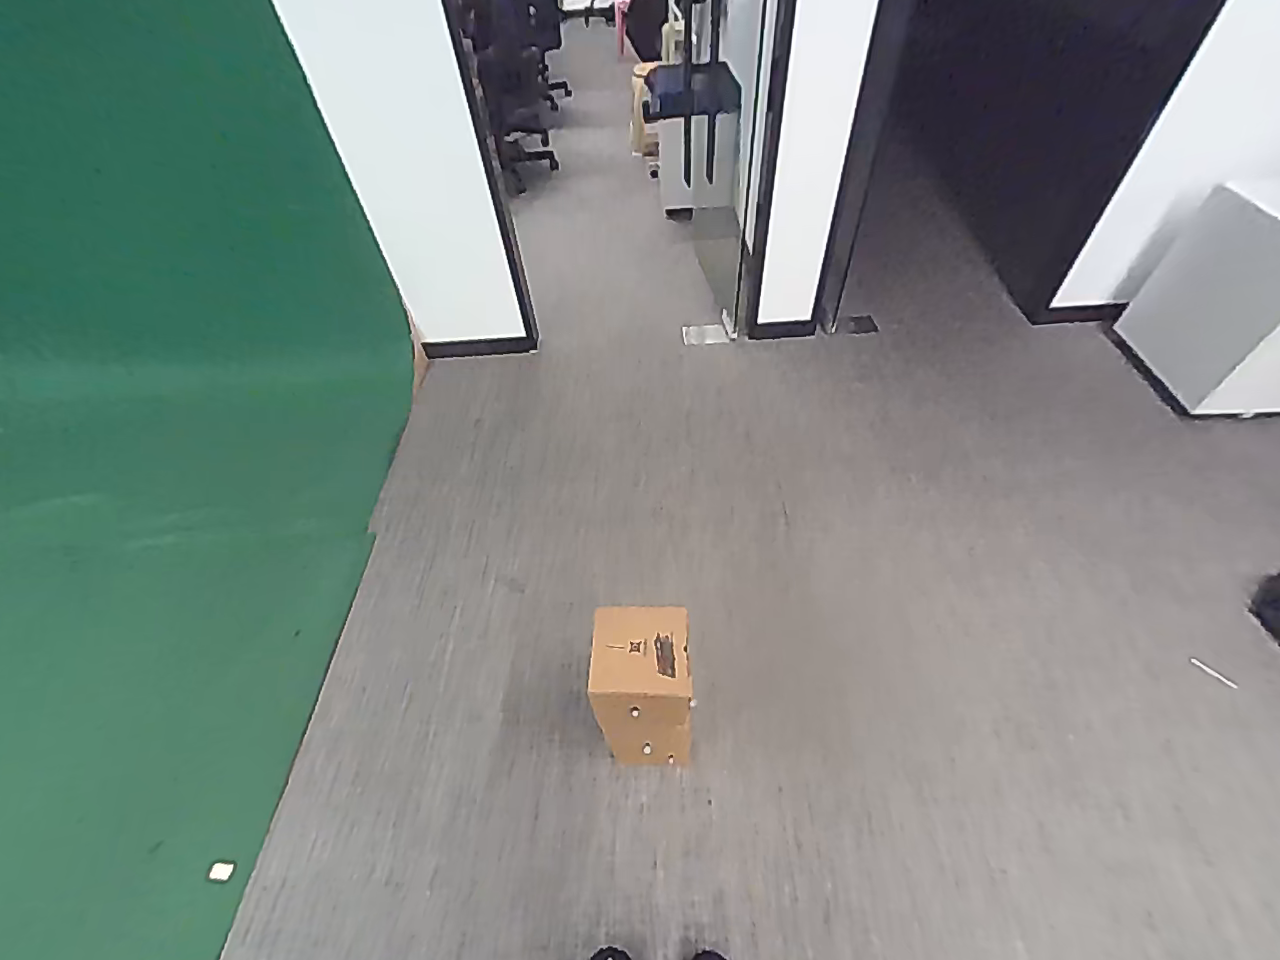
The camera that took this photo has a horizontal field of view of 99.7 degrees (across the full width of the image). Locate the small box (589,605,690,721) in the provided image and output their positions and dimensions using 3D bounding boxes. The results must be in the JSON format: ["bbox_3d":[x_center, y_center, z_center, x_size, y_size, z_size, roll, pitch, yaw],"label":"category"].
[{"bbox_3d":[0.001,0.353,1.036,0.179,0.176,0.168,-1,50,1],"label":"small box"}]

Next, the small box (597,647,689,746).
[{"bbox_3d":[0.013,0.460,1.161,0.179,0.176,0.168,2,50,5],"label":"small box"}]

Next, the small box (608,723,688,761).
[{"bbox_3d":[0.022,0.560,1.290,0.179,0.176,0.168,-2,49,4],"label":"small box"}]
